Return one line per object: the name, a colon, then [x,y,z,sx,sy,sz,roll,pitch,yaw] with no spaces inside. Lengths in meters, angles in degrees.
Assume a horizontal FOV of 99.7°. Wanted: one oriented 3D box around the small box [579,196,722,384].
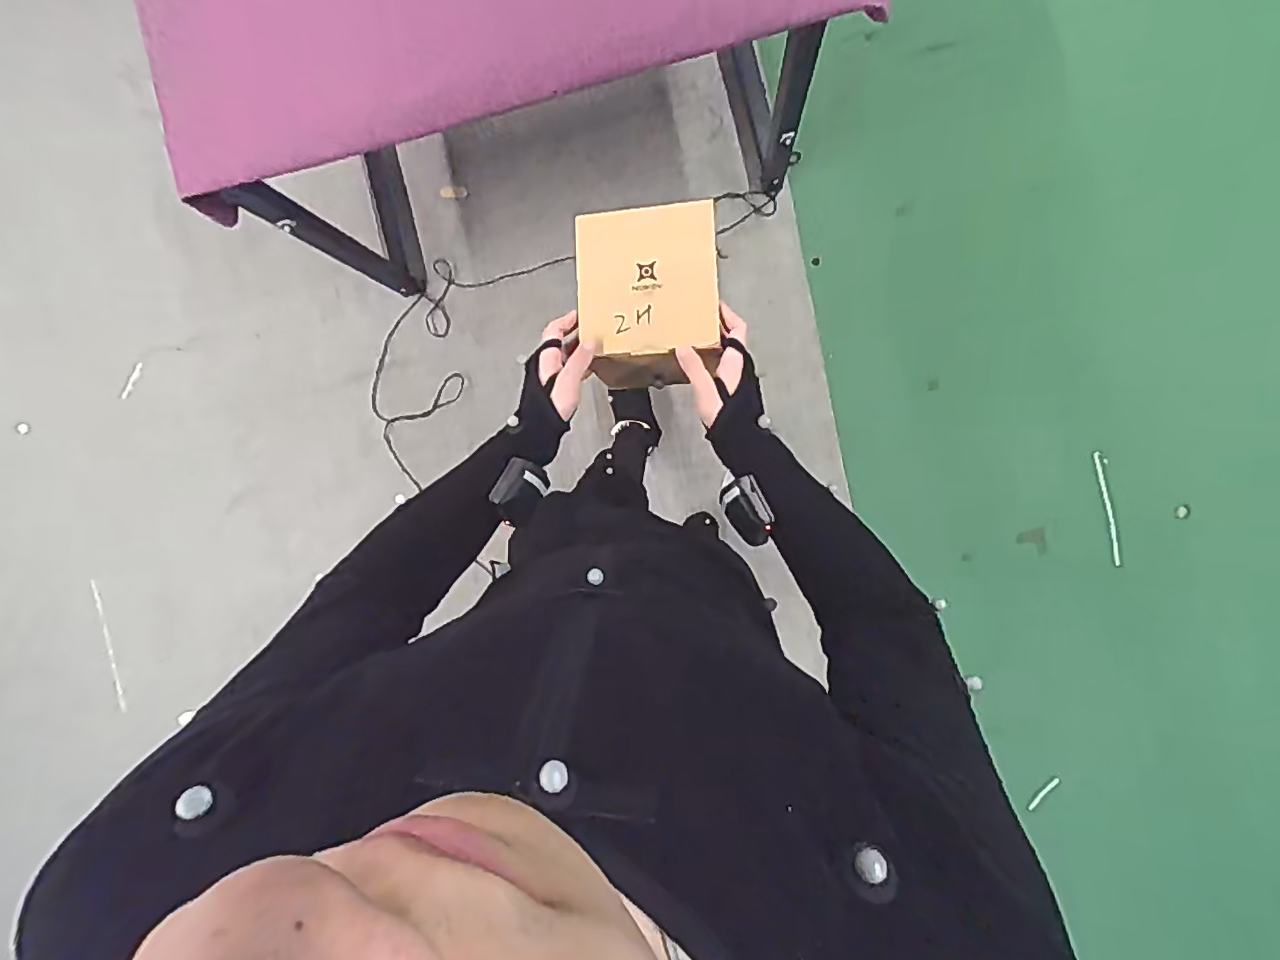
small box: [0.020,-0.234,0.706,0.168,0.176,0.179,-3,87,9]
